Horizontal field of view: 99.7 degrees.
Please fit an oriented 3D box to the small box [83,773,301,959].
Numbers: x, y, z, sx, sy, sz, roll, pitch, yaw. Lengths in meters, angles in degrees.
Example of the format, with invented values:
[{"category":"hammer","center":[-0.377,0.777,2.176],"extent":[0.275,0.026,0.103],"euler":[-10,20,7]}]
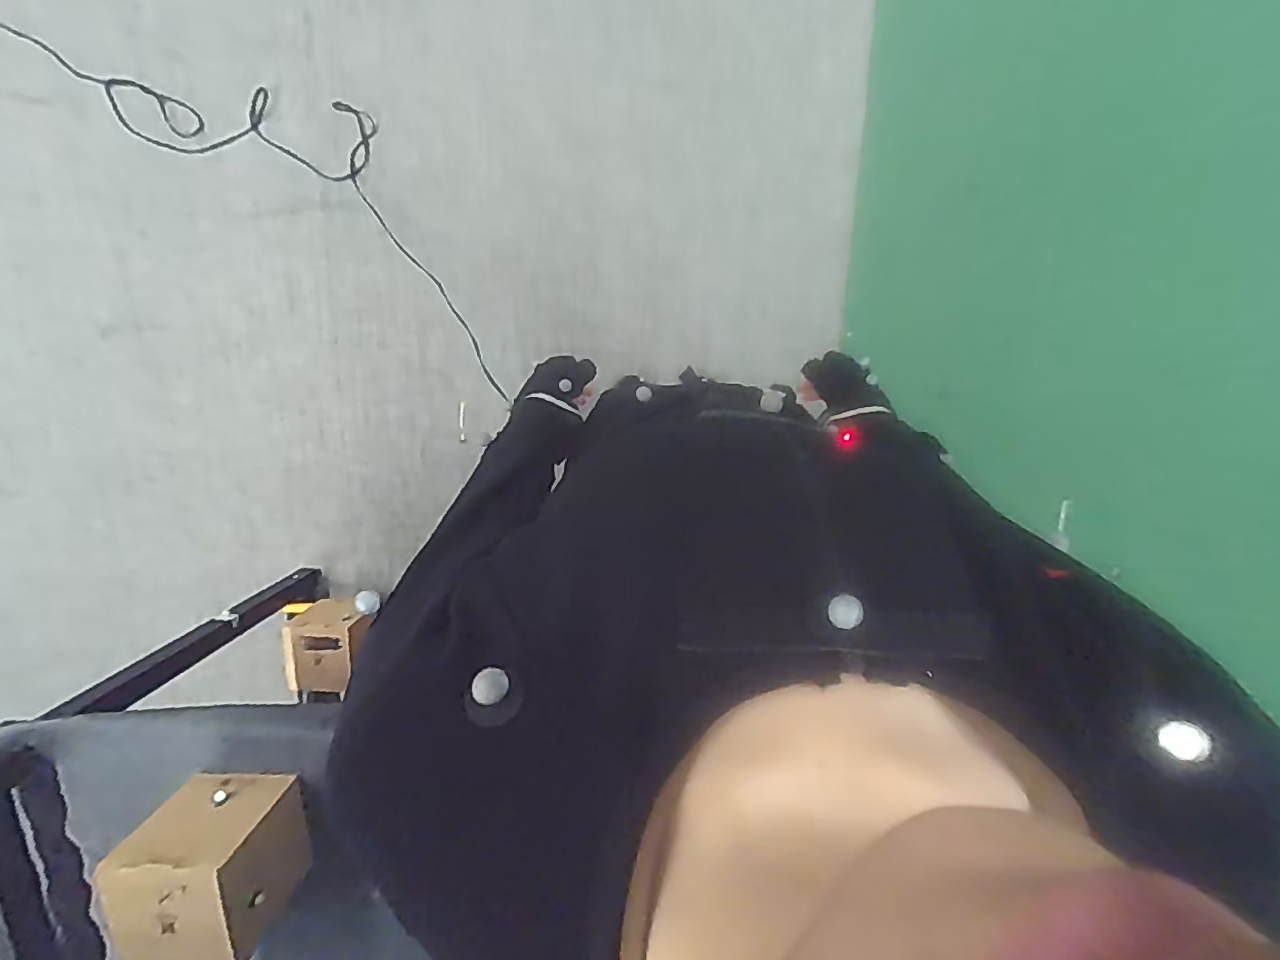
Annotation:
[{"category":"small box","center":[-0.621,0.558,0.777],"extent":[0.168,0.176,0.179],"euler":[0,102,0]}]
